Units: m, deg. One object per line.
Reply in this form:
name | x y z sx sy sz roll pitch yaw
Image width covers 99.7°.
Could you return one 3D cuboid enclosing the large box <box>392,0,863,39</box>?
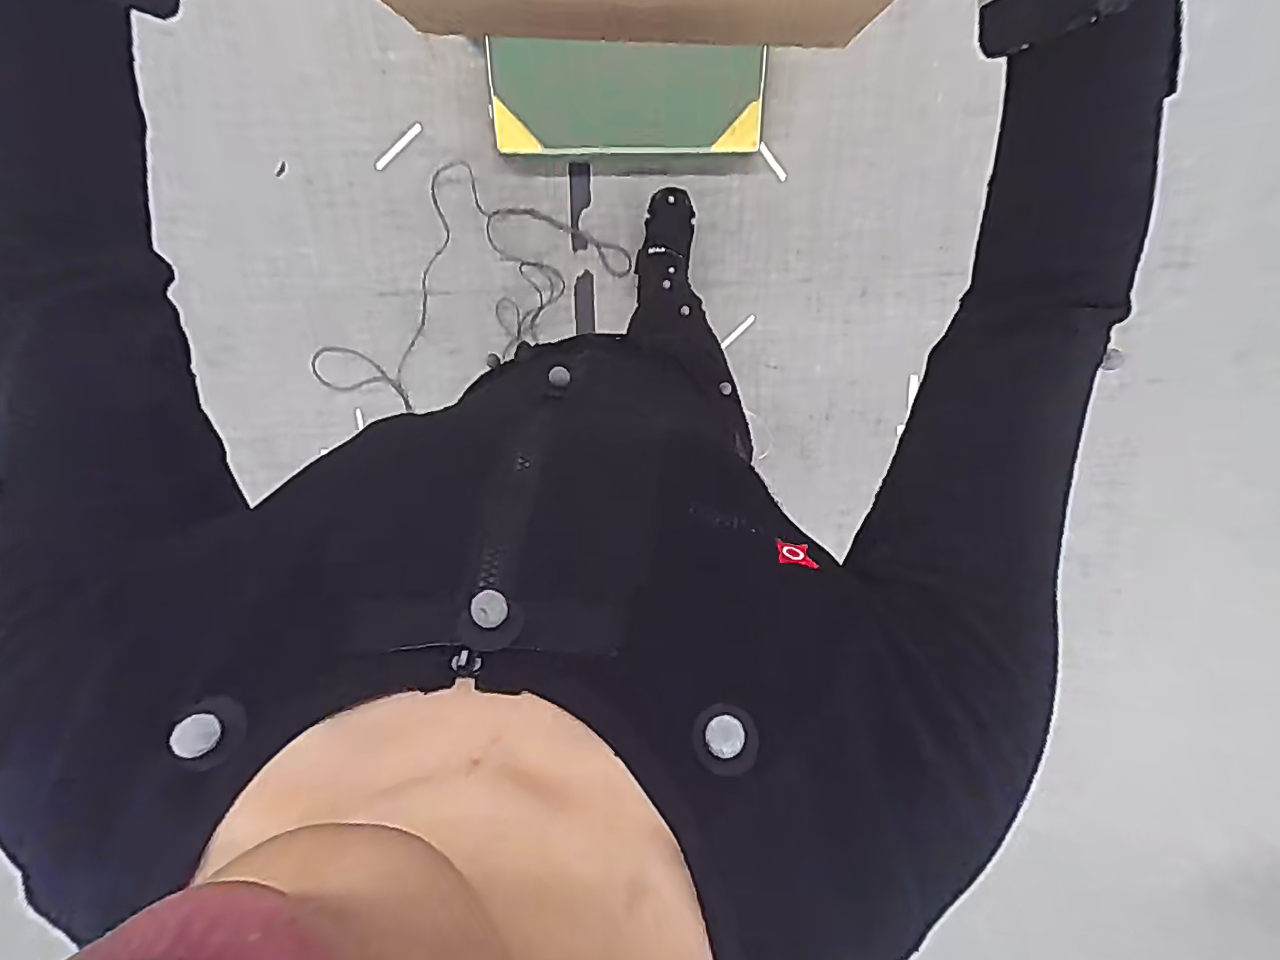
large box | -0.012 -0.501 0.322 0.408 0.320 0.320 1 116 0
